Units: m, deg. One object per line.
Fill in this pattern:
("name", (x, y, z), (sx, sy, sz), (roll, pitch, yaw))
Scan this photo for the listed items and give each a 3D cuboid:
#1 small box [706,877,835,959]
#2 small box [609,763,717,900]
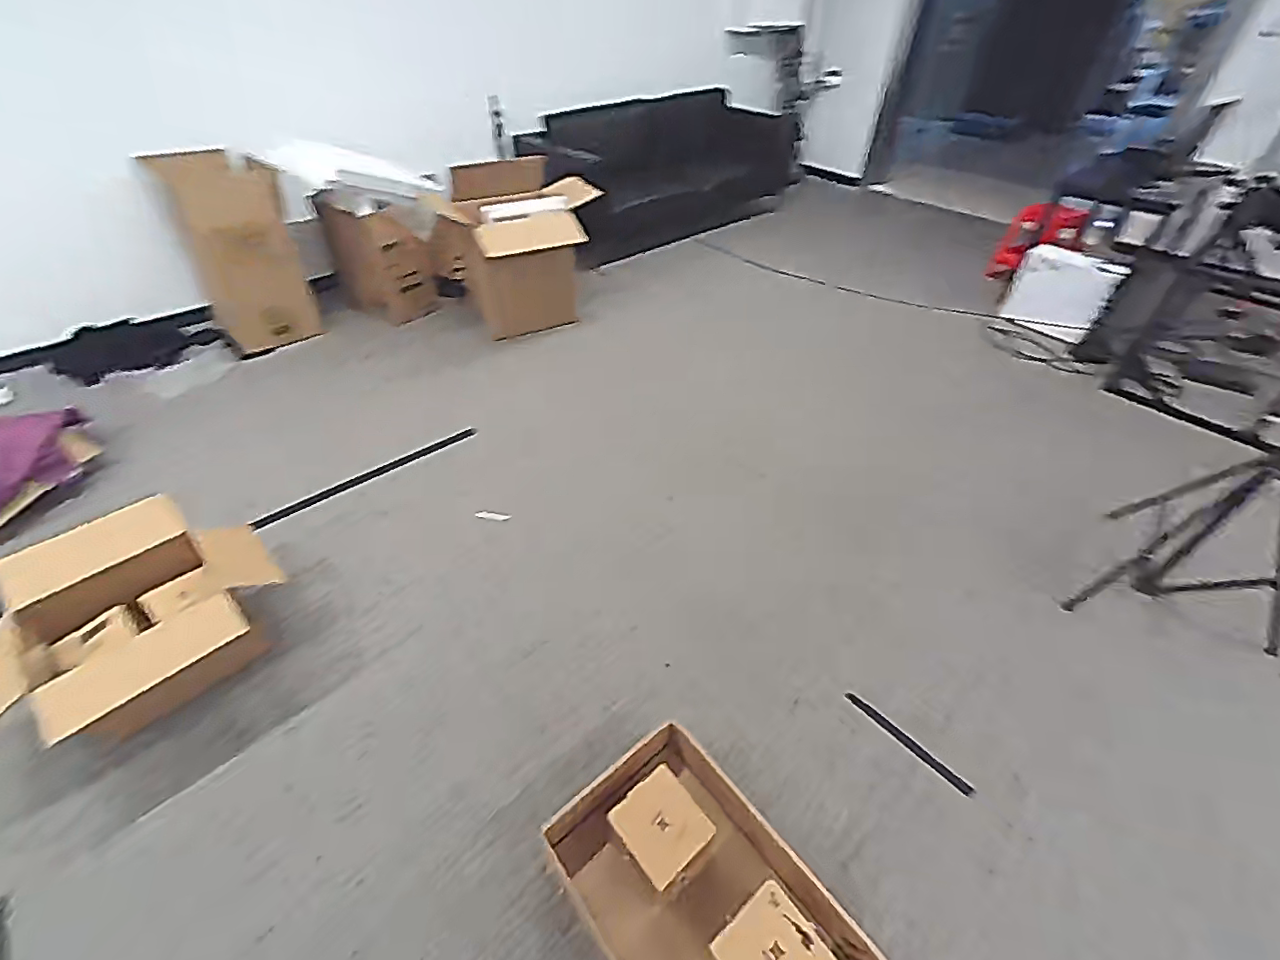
("small box", (0.243, 0.926, 1.043), (0.179, 0.176, 0.168), (-28, 49, -26))
("small box", (0.046, 0.780, 1.197), (0.168, 0.176, 0.179), (-30, 53, -27))
